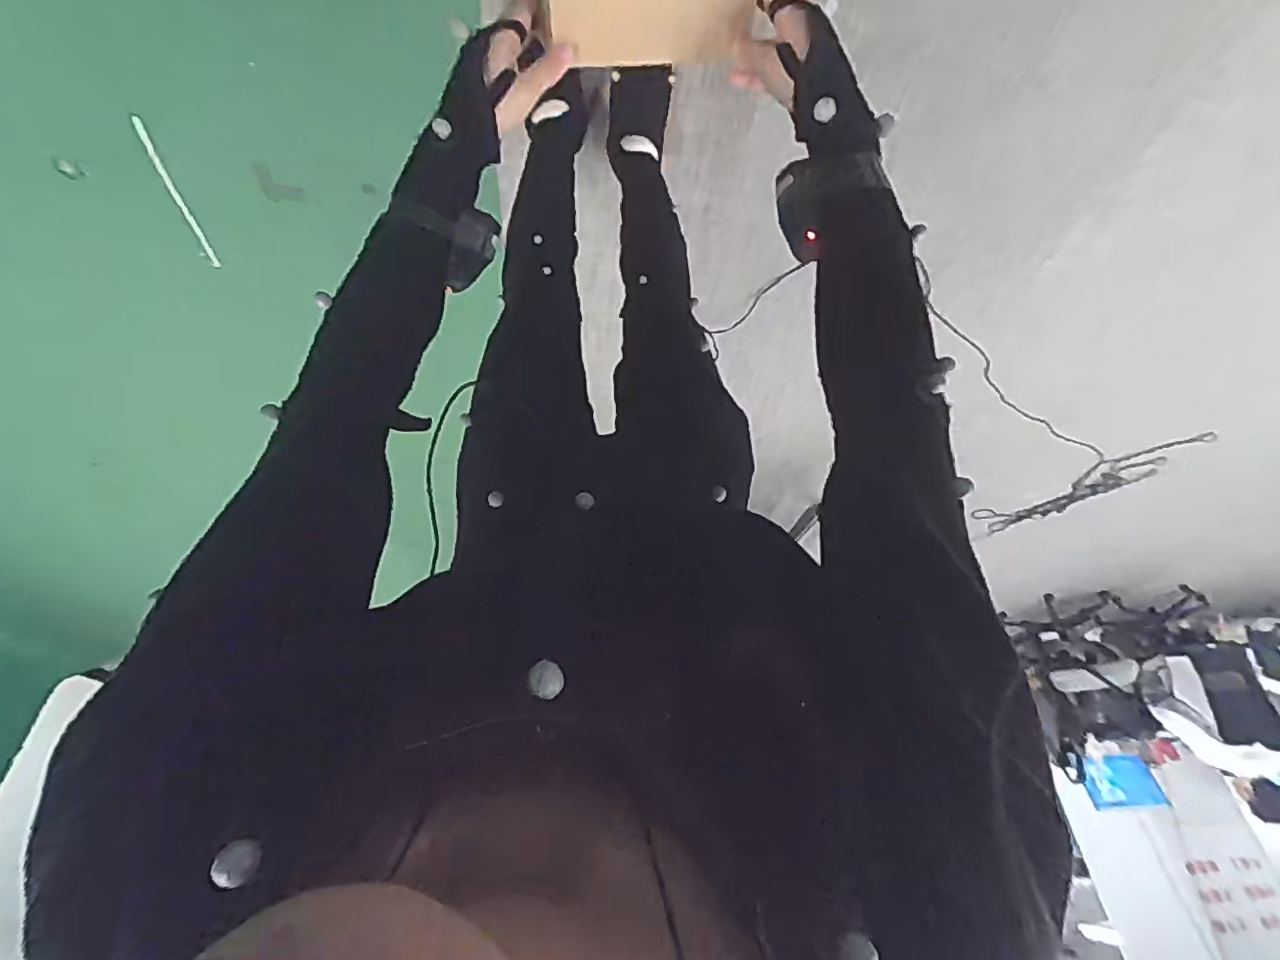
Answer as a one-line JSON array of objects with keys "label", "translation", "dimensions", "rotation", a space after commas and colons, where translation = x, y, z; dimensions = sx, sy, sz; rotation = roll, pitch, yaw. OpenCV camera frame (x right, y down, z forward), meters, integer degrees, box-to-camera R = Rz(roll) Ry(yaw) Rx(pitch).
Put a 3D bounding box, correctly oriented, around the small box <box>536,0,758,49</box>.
[{"label": "small box", "translation": [-0.003, -0.461, 0.412], "dimensions": [0.168, 0.176, 0.179], "rotation": [-11, 142, -12]}]
